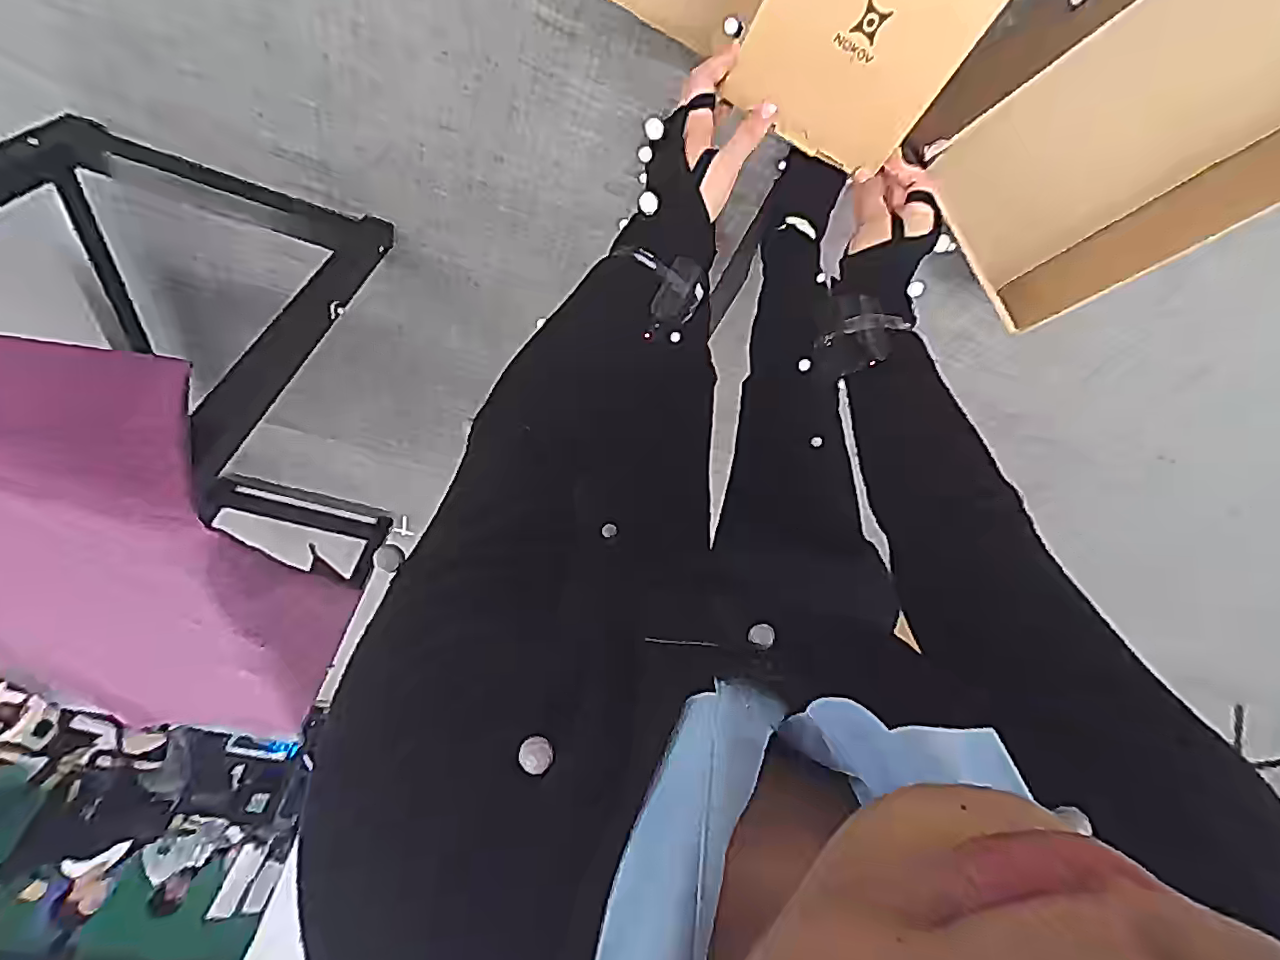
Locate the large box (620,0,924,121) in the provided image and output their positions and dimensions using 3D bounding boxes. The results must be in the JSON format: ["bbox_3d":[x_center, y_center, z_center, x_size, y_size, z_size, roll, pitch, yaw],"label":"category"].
[{"bbox_3d":[0.191,-0.696,0.550,0.320,0.320,0.408,19,140,-14],"label":"large box"}]
